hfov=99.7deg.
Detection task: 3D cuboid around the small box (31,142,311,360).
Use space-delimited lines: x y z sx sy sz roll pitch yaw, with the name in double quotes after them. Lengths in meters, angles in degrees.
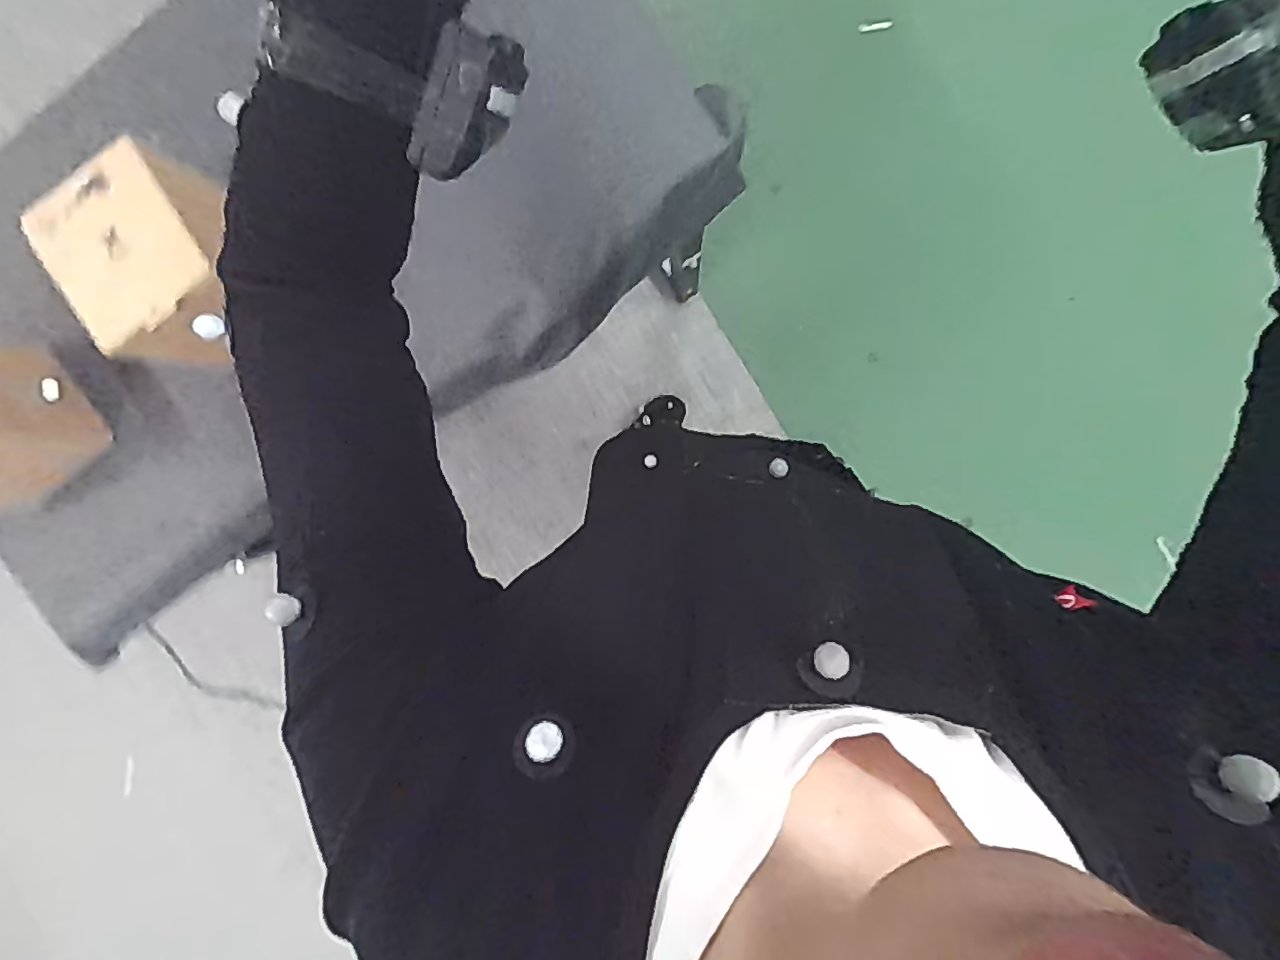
-0.568 -0.266 0.683 0.168 0.176 0.179 -32 92 6 "small box"
